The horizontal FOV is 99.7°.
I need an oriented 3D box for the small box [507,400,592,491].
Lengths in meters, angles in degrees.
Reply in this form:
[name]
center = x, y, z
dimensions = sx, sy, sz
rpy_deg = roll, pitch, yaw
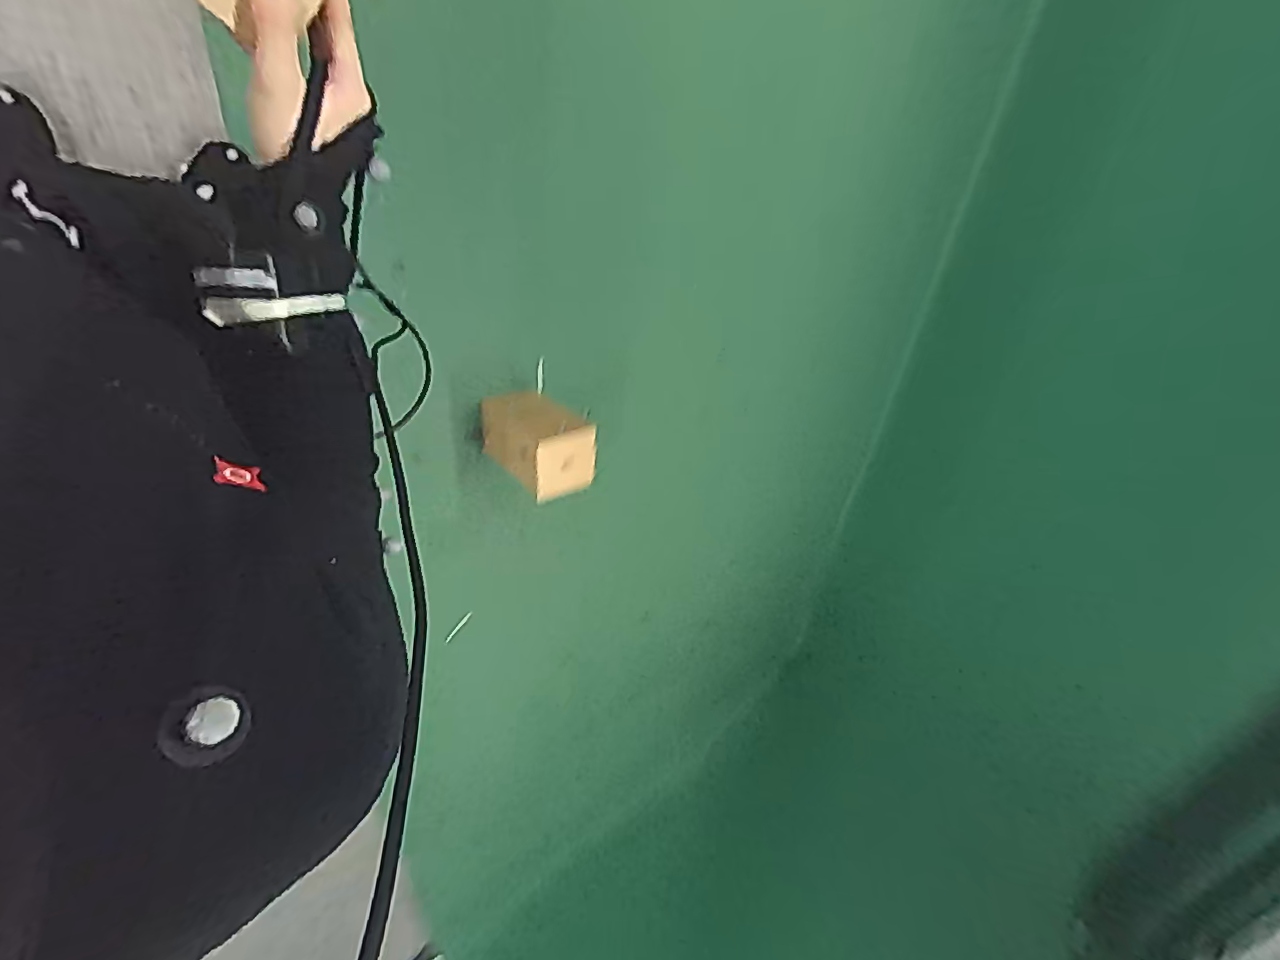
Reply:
[small box]
center = -0.247, -0.100, 1.464
dimensions = 0.179, 0.176, 0.168
rpy_deg = -22, 131, -35
